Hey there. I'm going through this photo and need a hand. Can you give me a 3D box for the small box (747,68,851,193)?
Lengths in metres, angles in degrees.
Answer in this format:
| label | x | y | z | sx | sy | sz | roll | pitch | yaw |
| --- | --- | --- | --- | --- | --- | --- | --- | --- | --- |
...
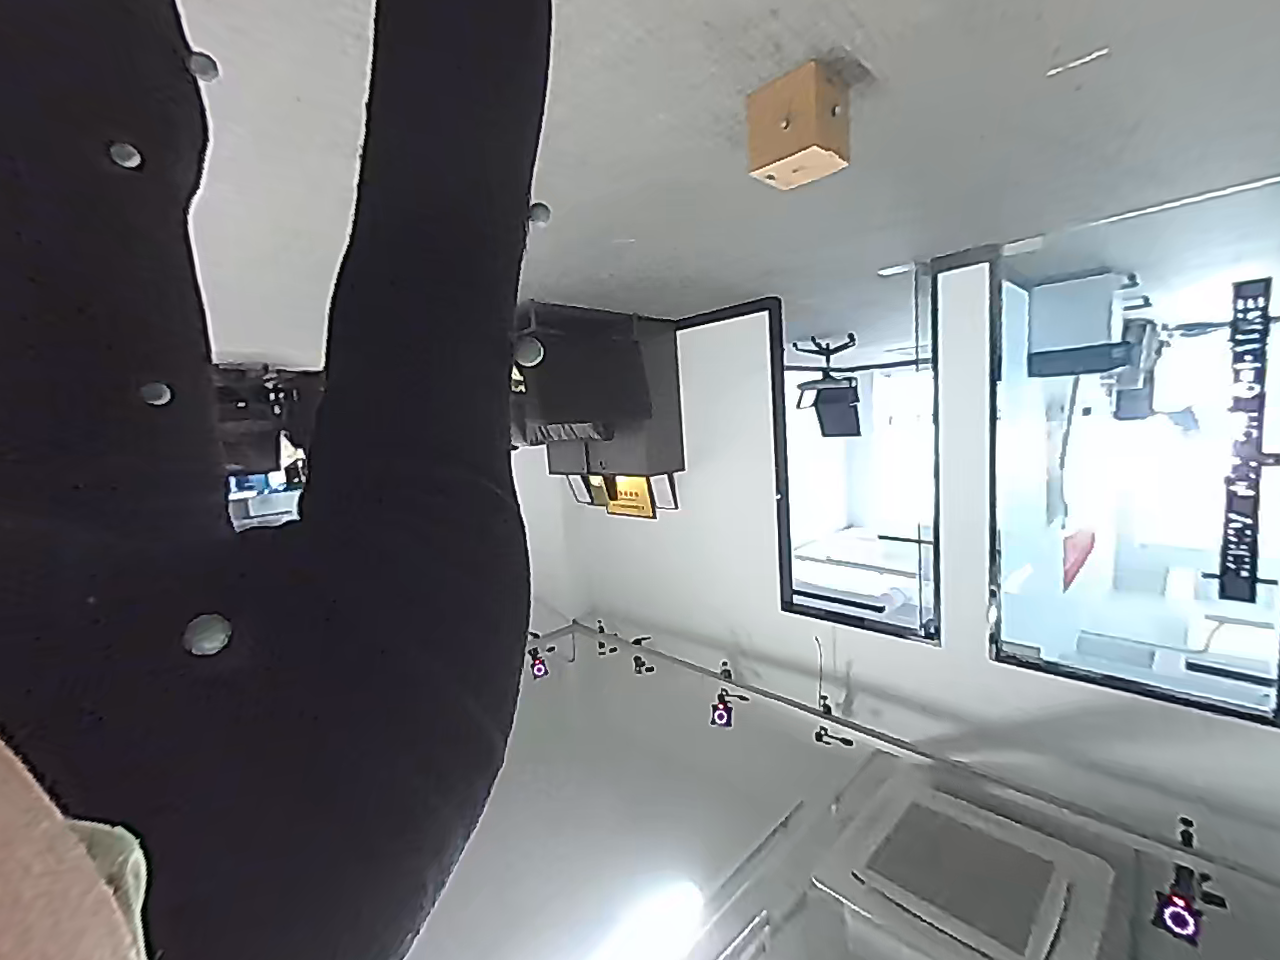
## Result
| label | x | y | z | sx | sy | sz | roll | pitch | yaw |
| --- | --- | --- | --- | --- | --- | --- | --- | --- | --- |
| small box | 0.361 | -0.793 | 1.239 | 0.168 | 0.176 | 0.179 | -10 | -172 | -44 |
